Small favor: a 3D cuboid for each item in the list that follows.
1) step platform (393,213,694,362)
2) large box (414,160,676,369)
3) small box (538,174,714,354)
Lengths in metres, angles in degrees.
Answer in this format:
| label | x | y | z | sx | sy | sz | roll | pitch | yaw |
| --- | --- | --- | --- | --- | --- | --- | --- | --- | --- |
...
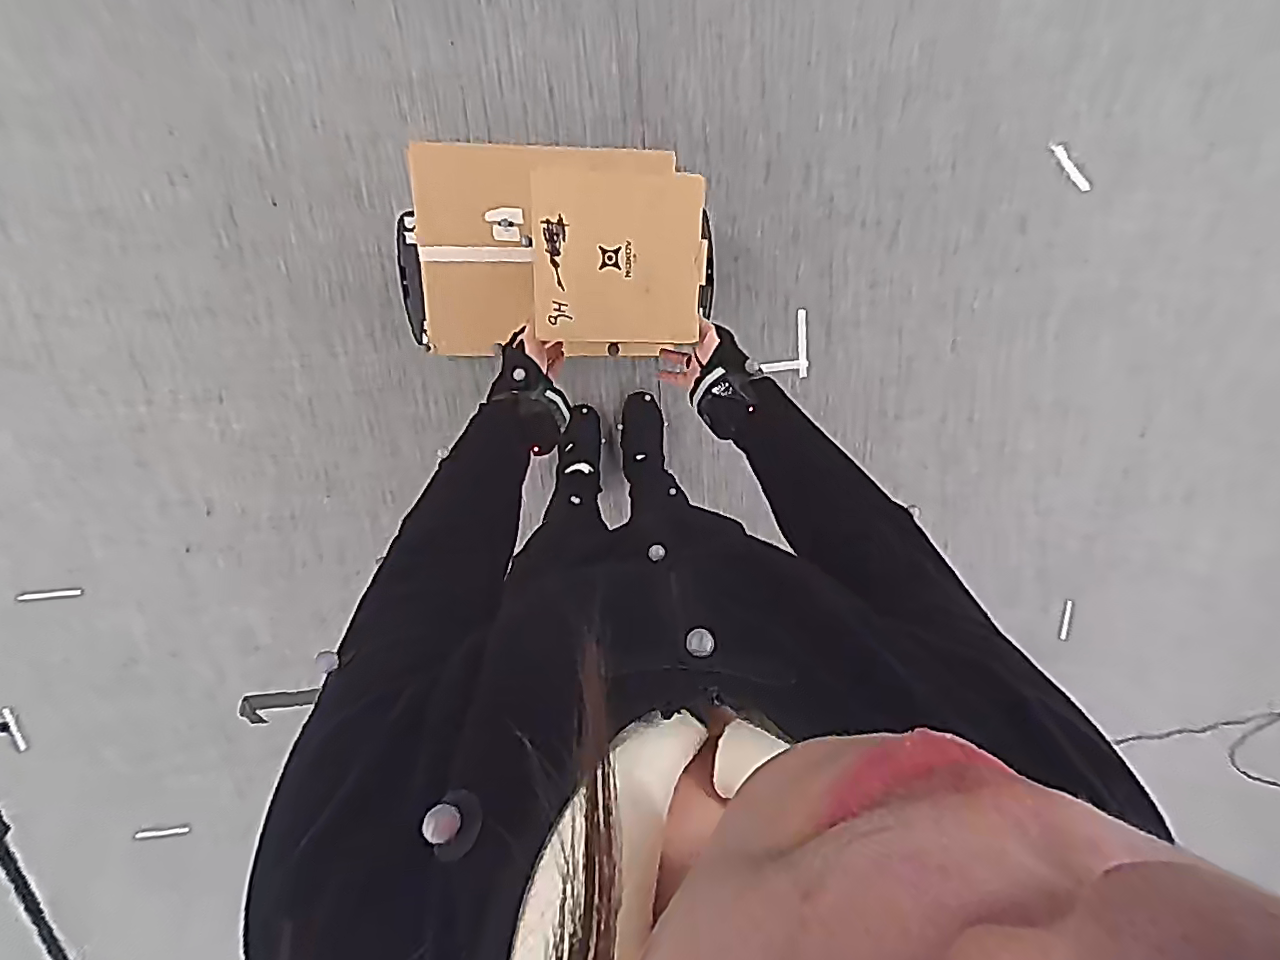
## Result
| label | x | y | z | sx | sy | sz | roll | pitch | yaw |
| --- | --- | --- | --- | --- | --- | --- | --- | --- | --- |
| step platform | -0.191 | -0.426 | 1.233 | 0.684 | 0.204 | 0.286 | 1 | 105 | -5 |
| large box | -0.149 | -0.377 | 1.003 | 0.408 | 0.320 | 0.320 | -1 | 104 | -4 |
| small box | -0.023 | -0.233 | 0.623 | 0.179 | 0.176 | 0.168 | 0 | 103 | -6 |
